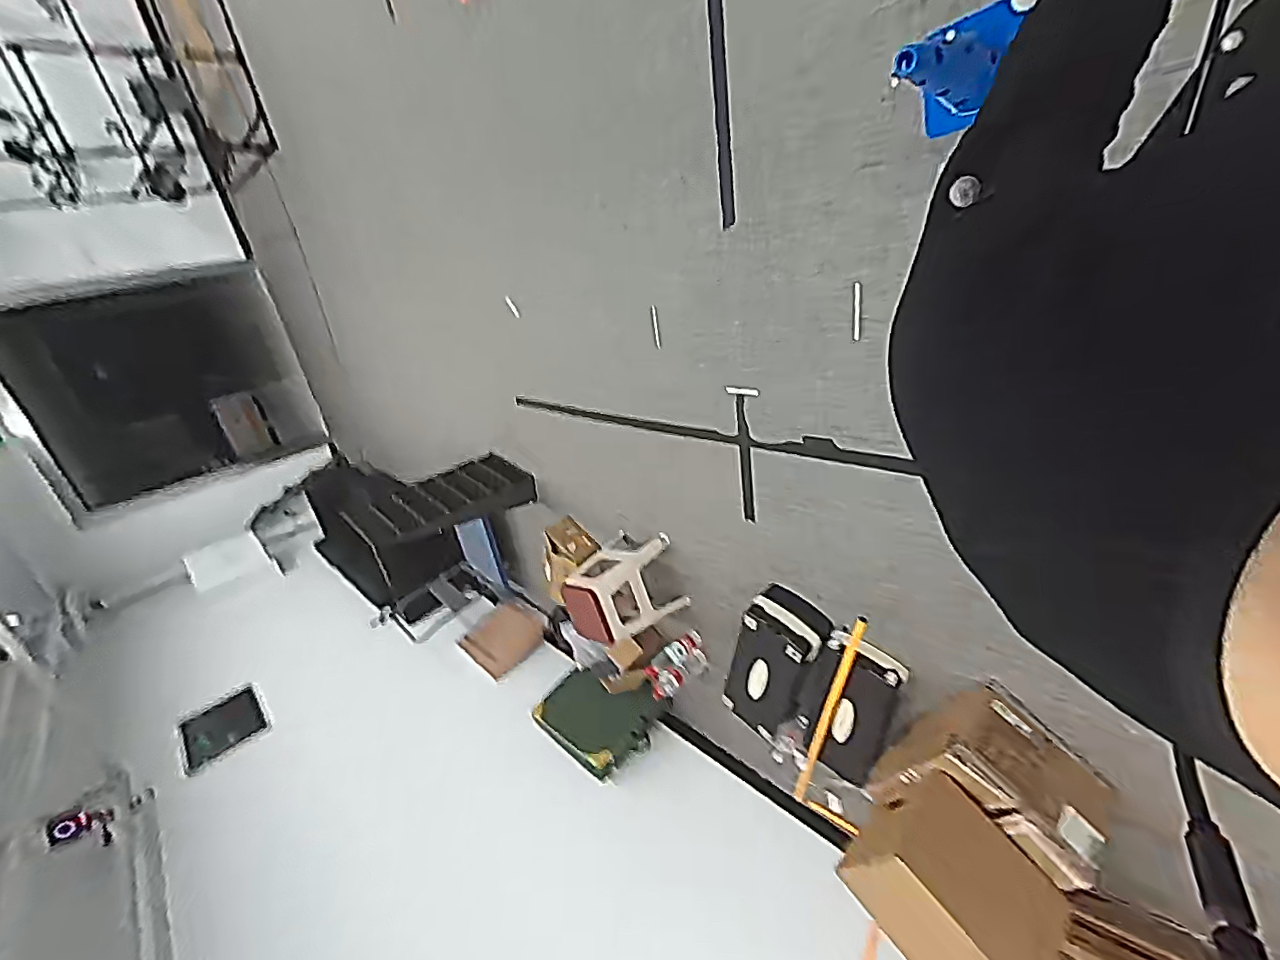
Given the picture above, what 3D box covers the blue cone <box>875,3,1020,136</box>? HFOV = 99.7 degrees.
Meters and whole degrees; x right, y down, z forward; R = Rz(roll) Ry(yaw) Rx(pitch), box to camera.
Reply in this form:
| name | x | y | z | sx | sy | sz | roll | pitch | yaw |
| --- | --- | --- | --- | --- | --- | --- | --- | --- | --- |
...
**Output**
| name | x | y | z | sx | sy | sz | roll | pitch | yaw |
| --- | --- | --- | --- | --- | --- | --- | --- | --- | --- |
| blue cone | 0.561 | -0.780 | 1.029 | 0.192 | 0.380 | 0.193 | 11 | 122 | 47 |
